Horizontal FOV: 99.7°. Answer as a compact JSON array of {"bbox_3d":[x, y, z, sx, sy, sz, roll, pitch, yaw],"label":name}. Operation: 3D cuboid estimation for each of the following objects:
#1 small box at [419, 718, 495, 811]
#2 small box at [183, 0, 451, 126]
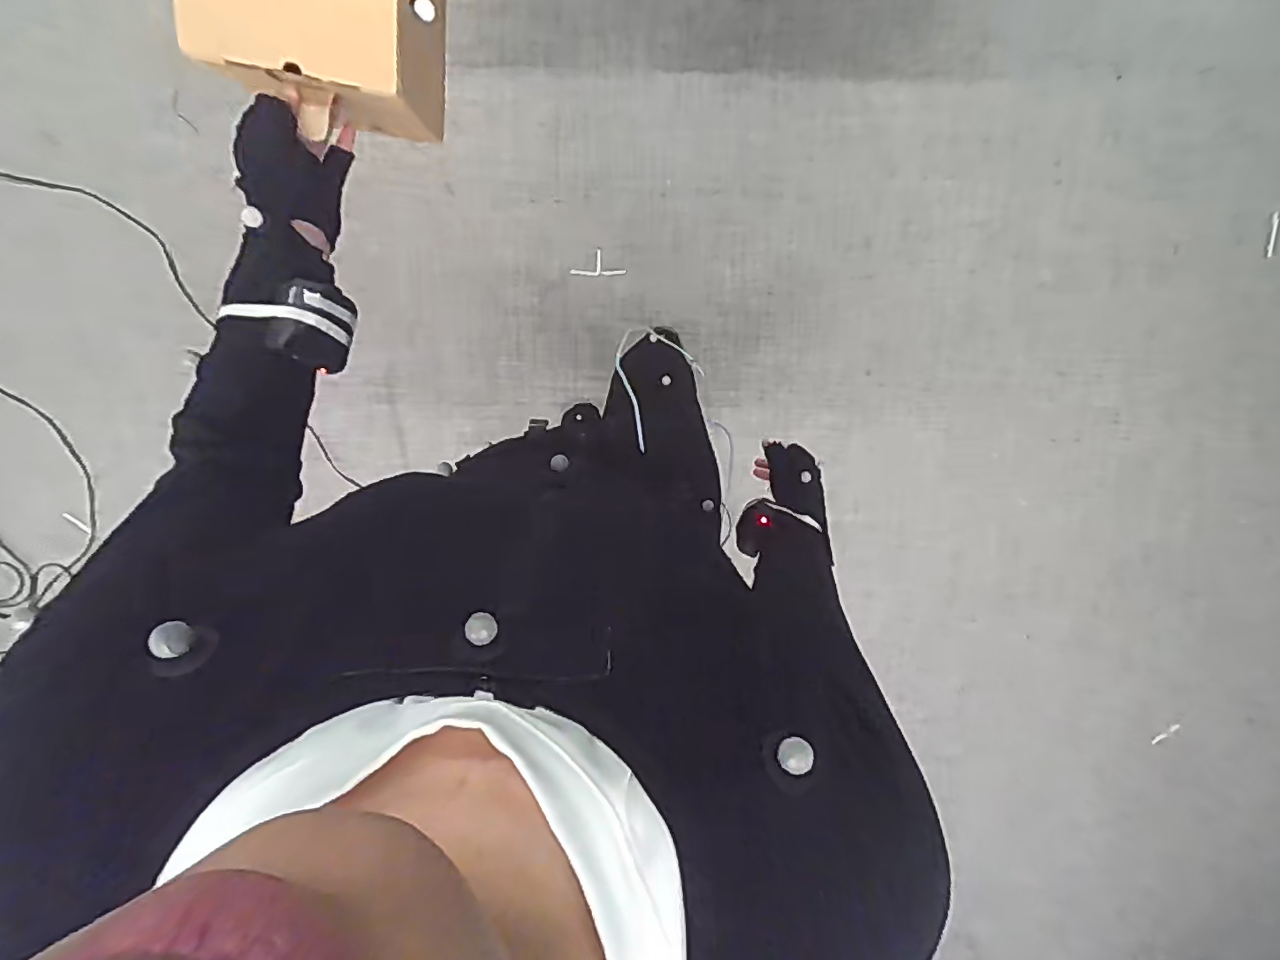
[{"bbox_3d":[-0.512,0.794,1.519,0.179,0.176,0.168,3,100,-1],"label":"small box"},{"bbox_3d":[-0.272,-0.449,0.483,0.168,0.176,0.179,6,111,-10],"label":"small box"}]
